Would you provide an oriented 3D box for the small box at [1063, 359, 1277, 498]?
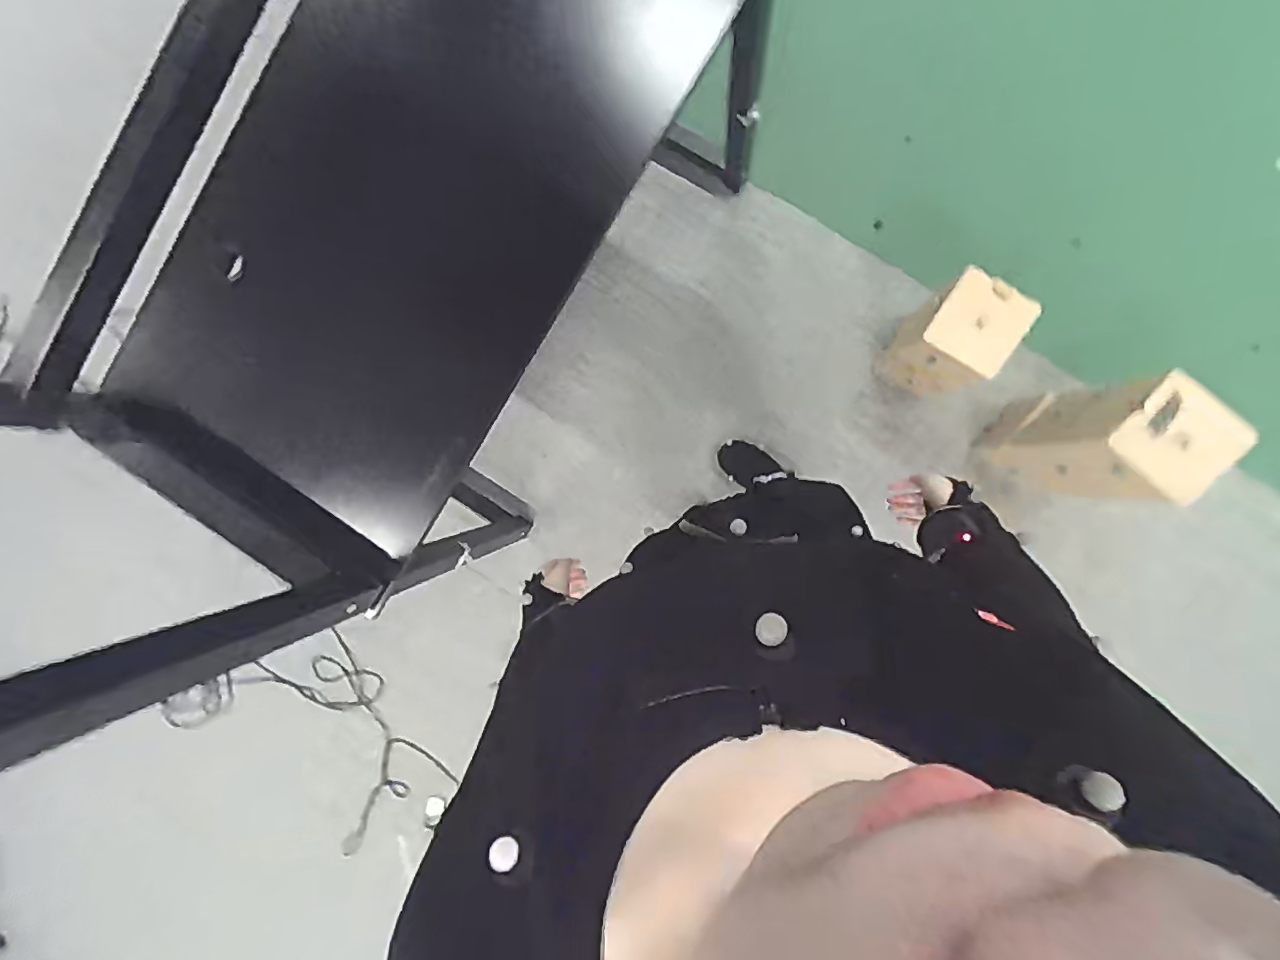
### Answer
[{"bbox_3d":[0.926,-0.087,0.969,0.179,0.176,0.168,41,97,4],"label":"small box"}]

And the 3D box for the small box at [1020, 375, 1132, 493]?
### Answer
[{"bbox_3d":[0.955,-0.091,1.131,0.179,0.176,0.168,44,98,4],"label":"small box"}]

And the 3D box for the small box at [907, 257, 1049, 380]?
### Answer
[{"bbox_3d":[0.704,-0.333,1.156,0.168,0.176,0.179,32,95,6],"label":"small box"}]
